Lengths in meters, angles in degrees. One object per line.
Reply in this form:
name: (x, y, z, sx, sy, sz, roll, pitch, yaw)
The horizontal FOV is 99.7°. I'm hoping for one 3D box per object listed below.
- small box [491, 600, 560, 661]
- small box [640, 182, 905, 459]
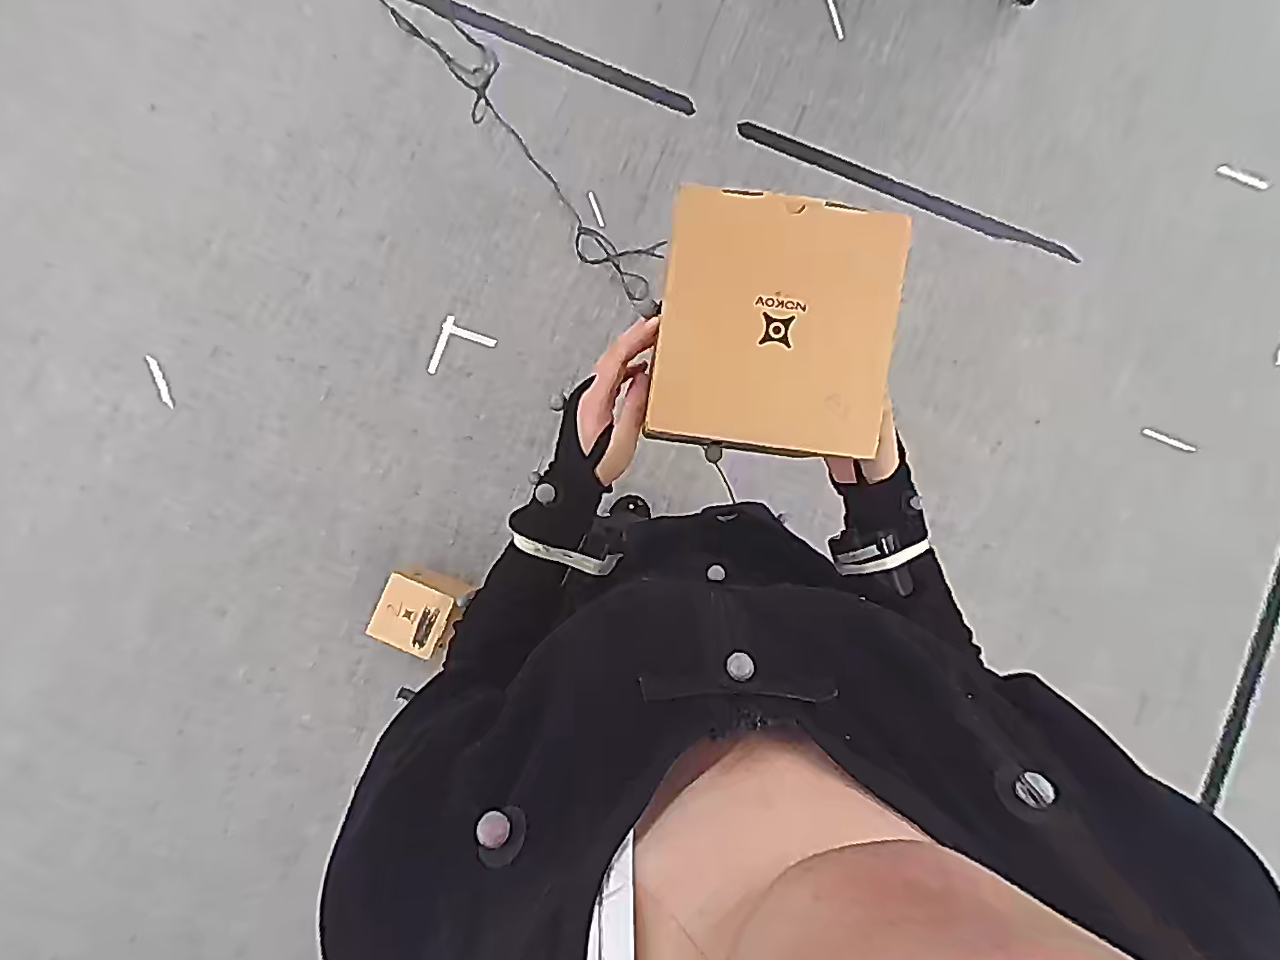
small box: (-0.319, 0.434, 1.407, 0.168, 0.176, 0.179, 24, 87, -1)
small box: (0.092, -0.113, 0.457, 0.168, 0.176, 0.179, 7, 91, -1)
